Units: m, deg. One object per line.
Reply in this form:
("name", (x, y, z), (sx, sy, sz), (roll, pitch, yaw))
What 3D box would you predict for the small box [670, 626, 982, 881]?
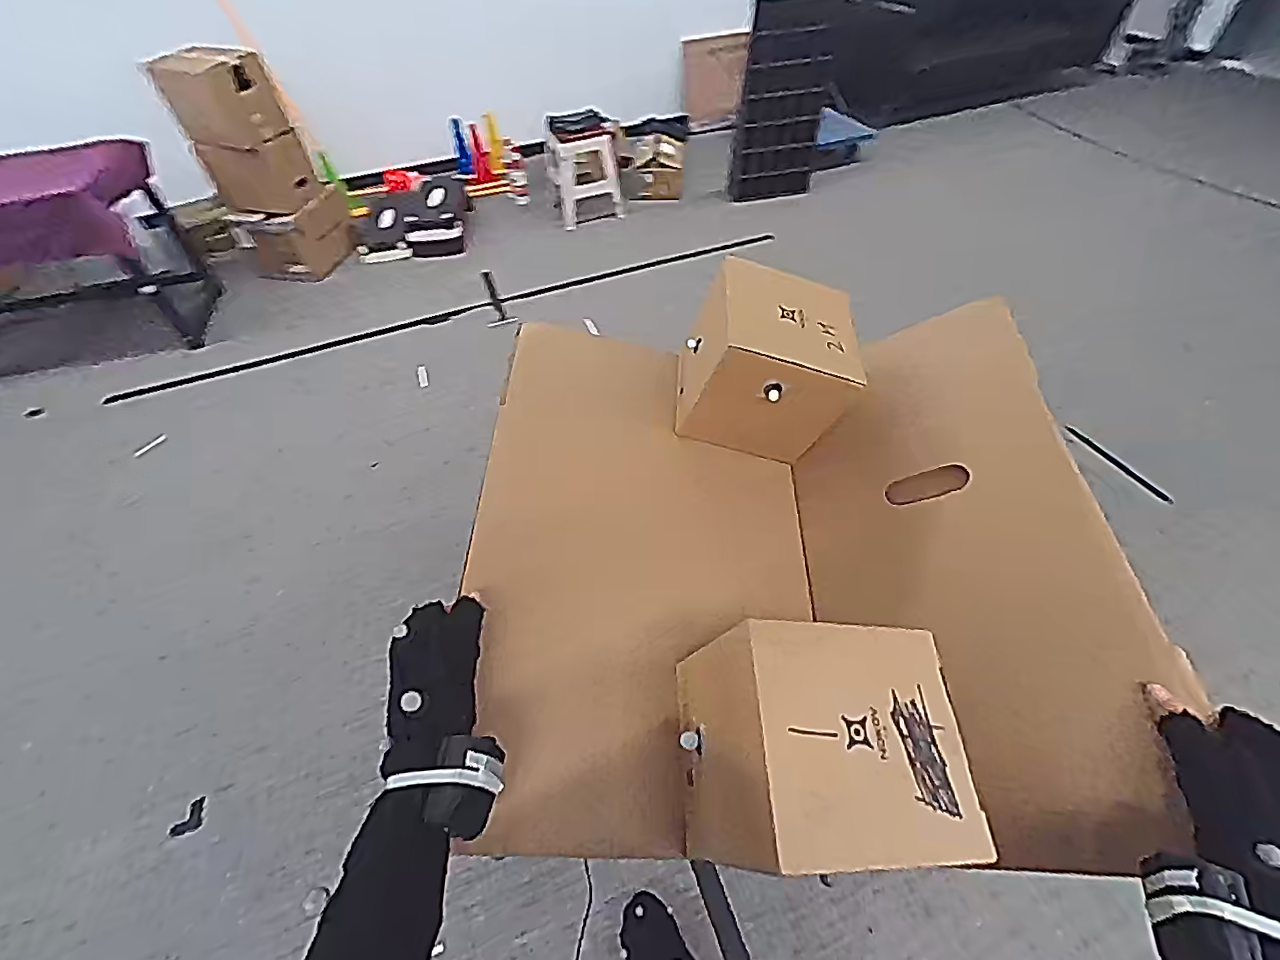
("small box", (0.138, 0.234, 0.470), (0.179, 0.176, 0.168), (7, 58, -15))
